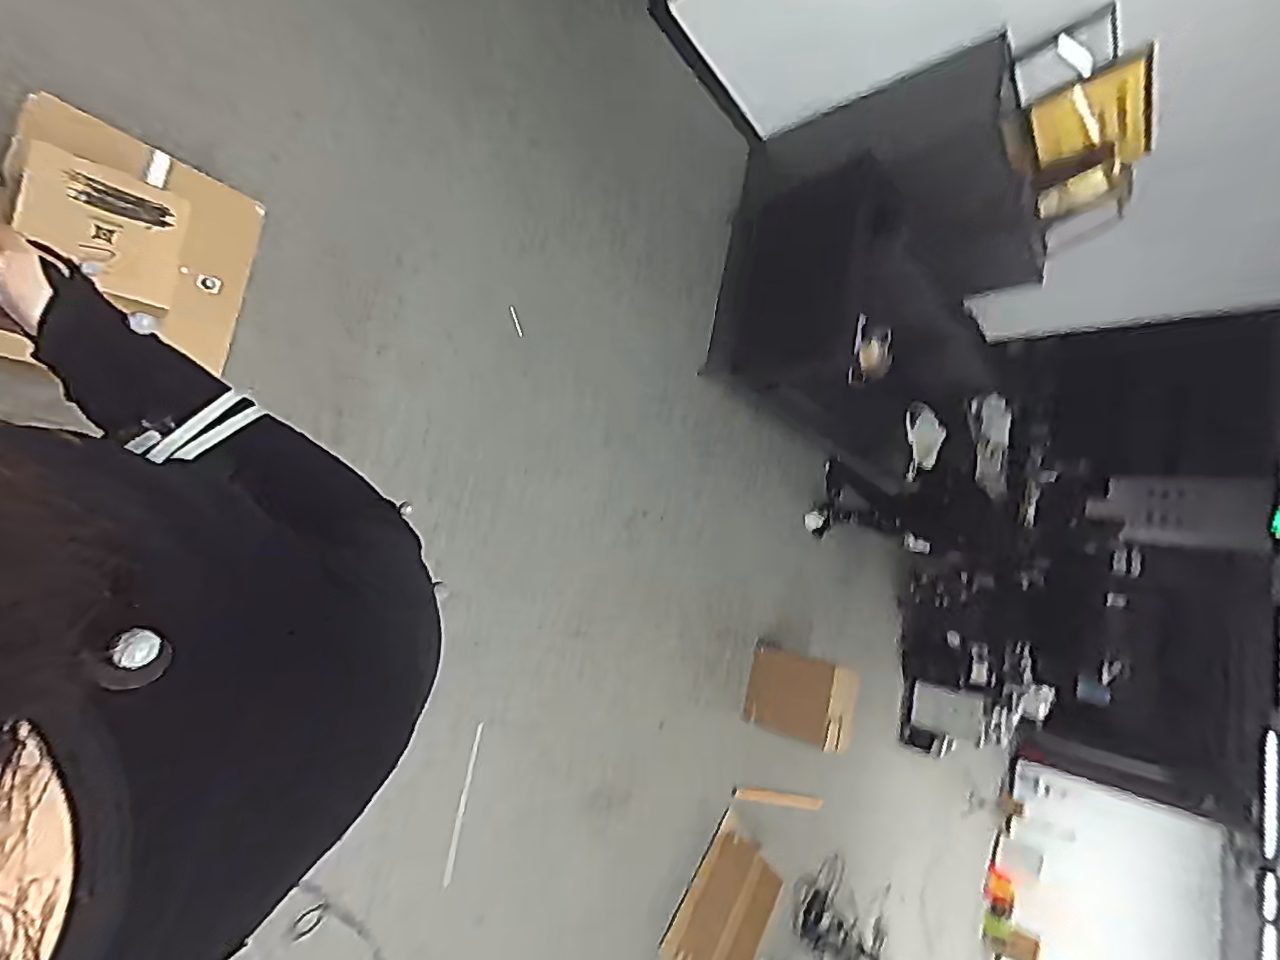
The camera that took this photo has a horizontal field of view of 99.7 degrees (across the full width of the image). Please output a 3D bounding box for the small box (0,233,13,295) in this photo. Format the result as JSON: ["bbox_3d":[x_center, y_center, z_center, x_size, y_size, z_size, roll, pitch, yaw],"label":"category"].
[{"bbox_3d":[-0.511,-0.200,0.312,0.168,0.176,0.179,-19,112,-44],"label":"small box"}]
